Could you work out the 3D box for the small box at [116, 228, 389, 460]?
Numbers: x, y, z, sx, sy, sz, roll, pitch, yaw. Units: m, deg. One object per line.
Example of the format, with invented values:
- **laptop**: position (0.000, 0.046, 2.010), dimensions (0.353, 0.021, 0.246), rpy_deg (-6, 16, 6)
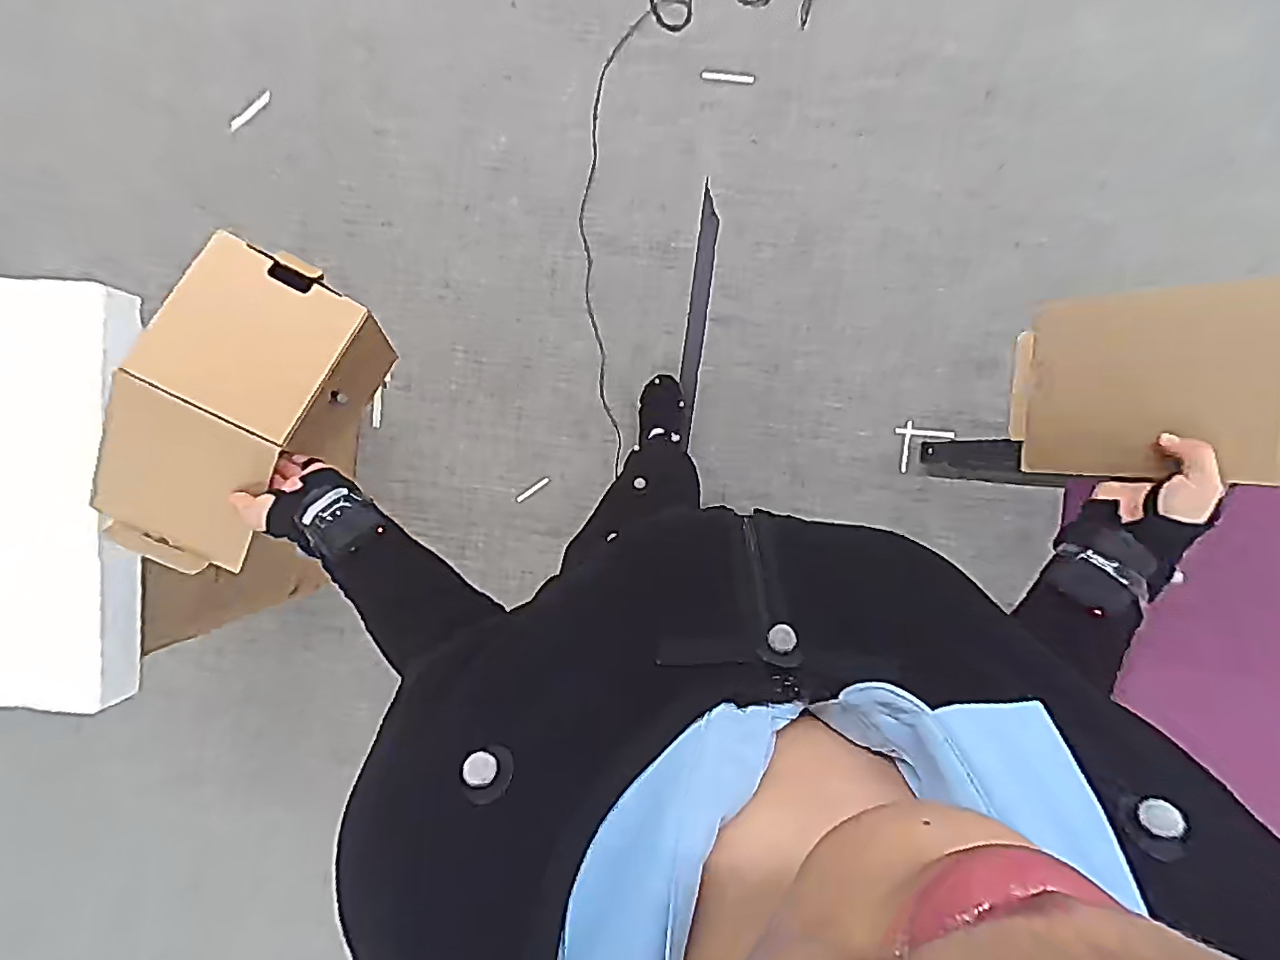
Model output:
- **small box**: position (-0.417, -0.138, 0.625), dimensions (0.168, 0.176, 0.179), rpy_deg (28, 78, -10)
